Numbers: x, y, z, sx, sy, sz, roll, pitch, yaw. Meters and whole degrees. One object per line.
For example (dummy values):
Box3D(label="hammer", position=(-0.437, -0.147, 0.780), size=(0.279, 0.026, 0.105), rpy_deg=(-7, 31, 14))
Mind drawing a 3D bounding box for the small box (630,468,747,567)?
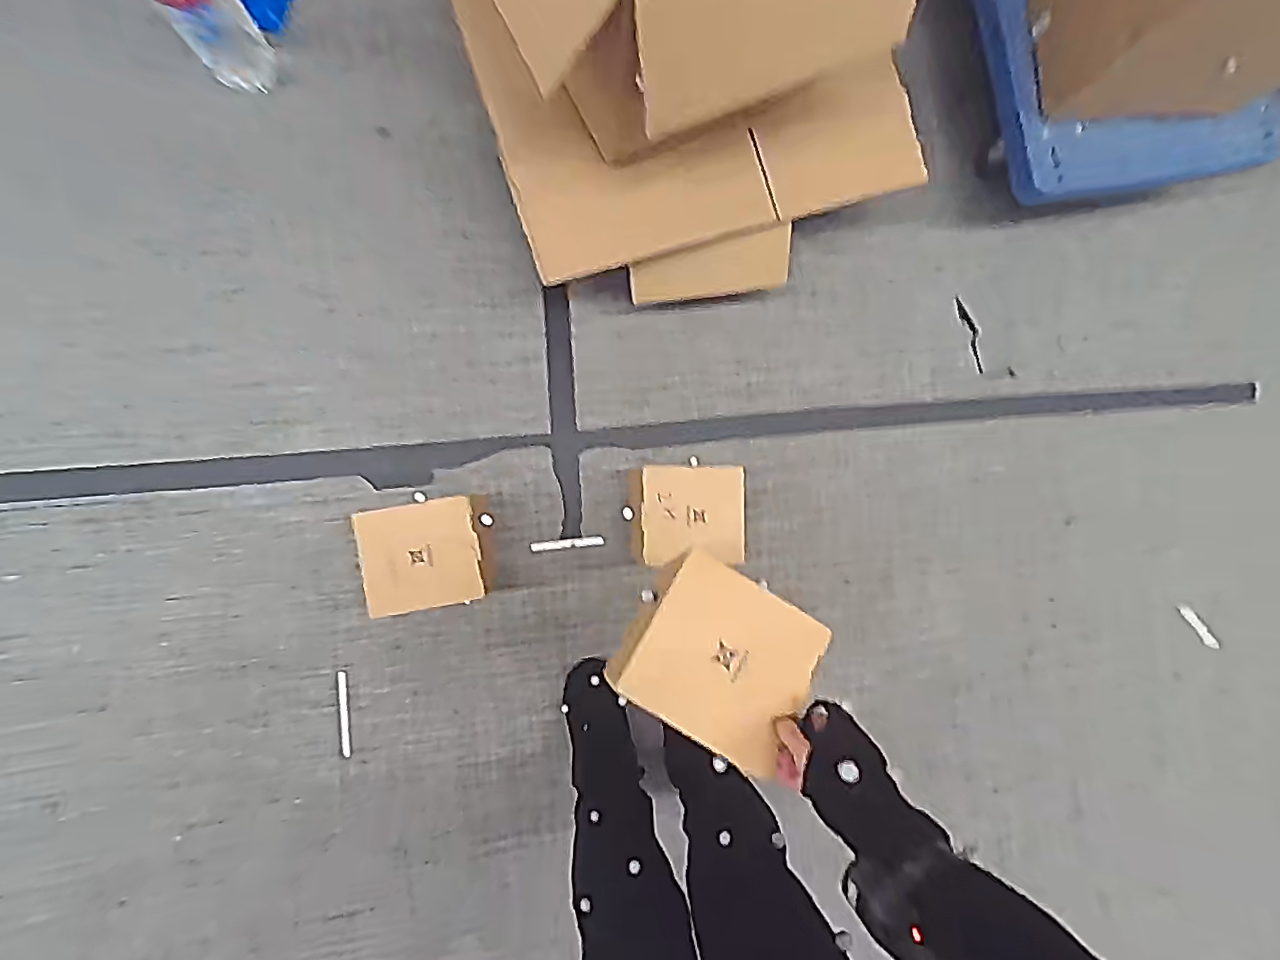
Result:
Box3D(label="small box", position=(0.081, 0.063, 0.972), size=(0.179, 0.176, 0.168), rpy_deg=(0, 89, -9))

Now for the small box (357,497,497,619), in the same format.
Box3D(label="small box", position=(-0.344, 0.120, 0.910), size=(0.179, 0.176, 0.168), rpy_deg=(-10, 89, -7))

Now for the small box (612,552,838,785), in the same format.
Box3D(label="small box", position=(0.082, 0.204, 0.613), size=(0.179, 0.176, 0.168), rpy_deg=(30, 73, 0))
